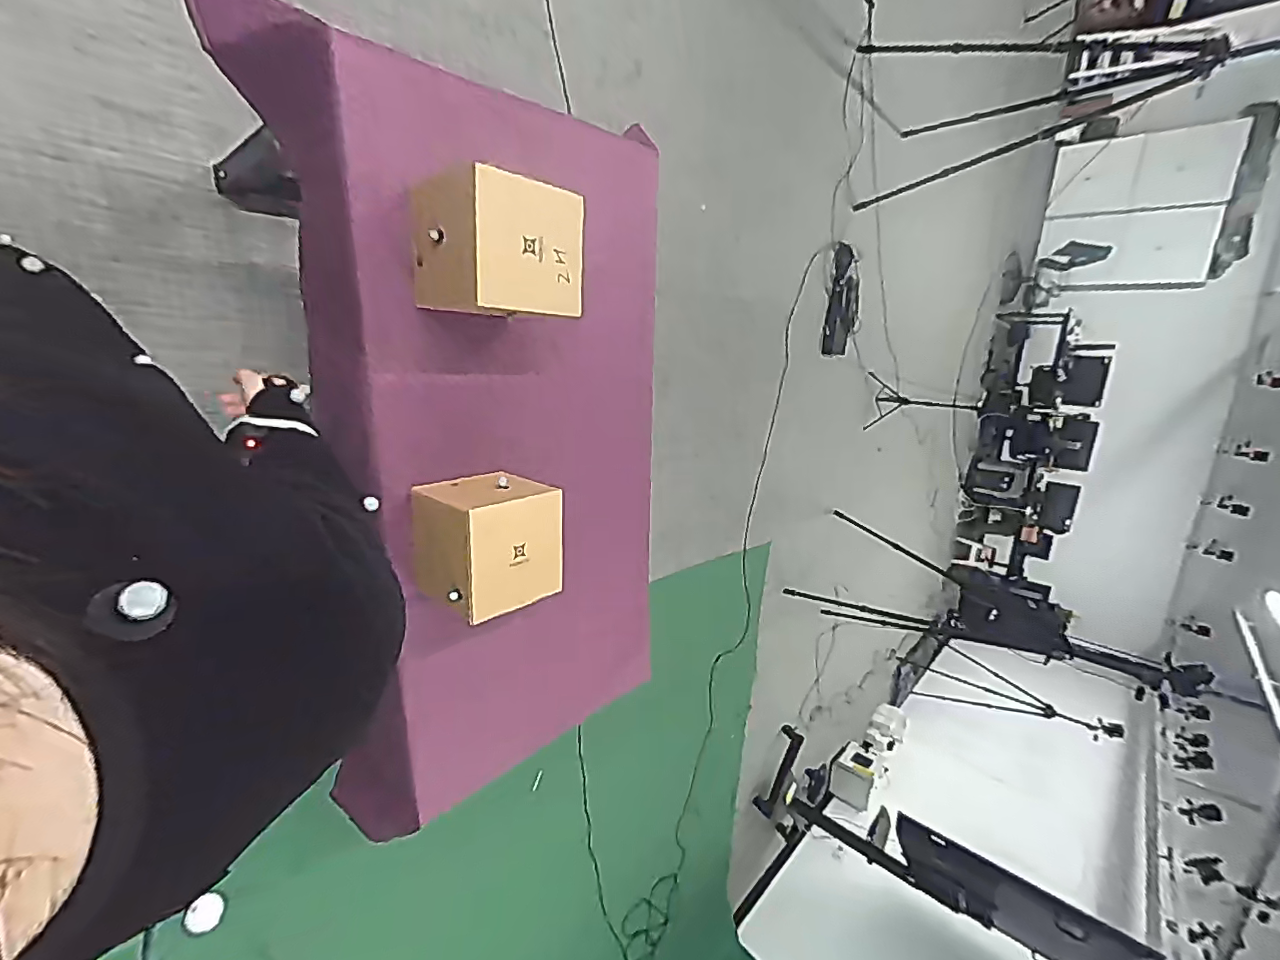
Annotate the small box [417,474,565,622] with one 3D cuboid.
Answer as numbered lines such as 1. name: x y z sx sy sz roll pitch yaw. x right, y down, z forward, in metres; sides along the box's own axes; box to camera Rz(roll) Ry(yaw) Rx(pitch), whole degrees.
1. small box: -0.237 0.092 0.858 0.168 0.176 0.179 -13 112 -46

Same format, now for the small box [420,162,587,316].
1. small box: -0.197 -0.324 0.768 0.179 0.176 0.168 -12 111 -47
